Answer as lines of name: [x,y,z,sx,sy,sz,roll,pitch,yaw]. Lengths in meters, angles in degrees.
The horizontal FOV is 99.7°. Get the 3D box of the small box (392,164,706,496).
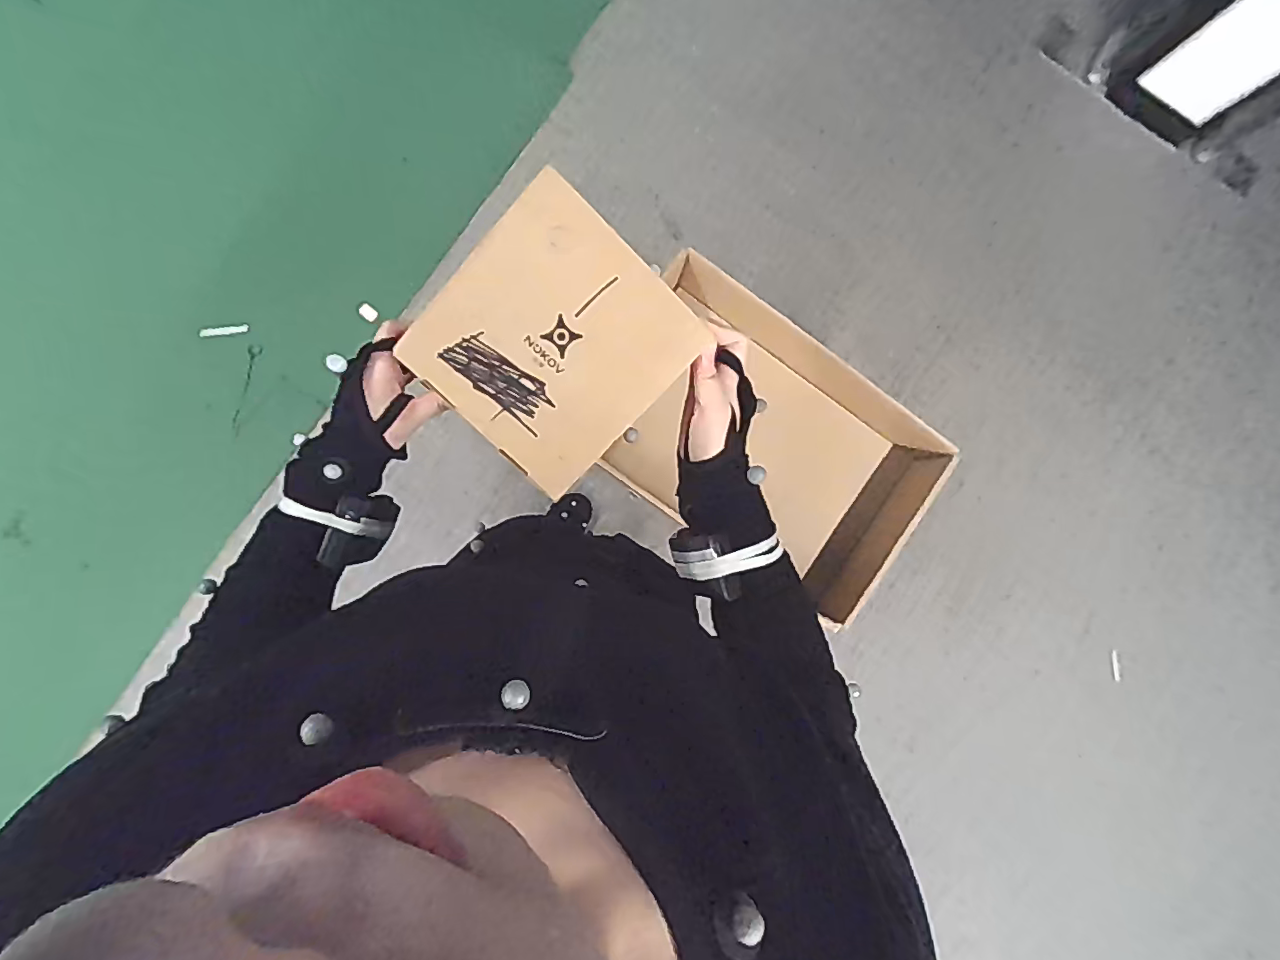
small box: [-0.064,-0.117,0.468,0.168,0.176,0.179,43,100,-8]
